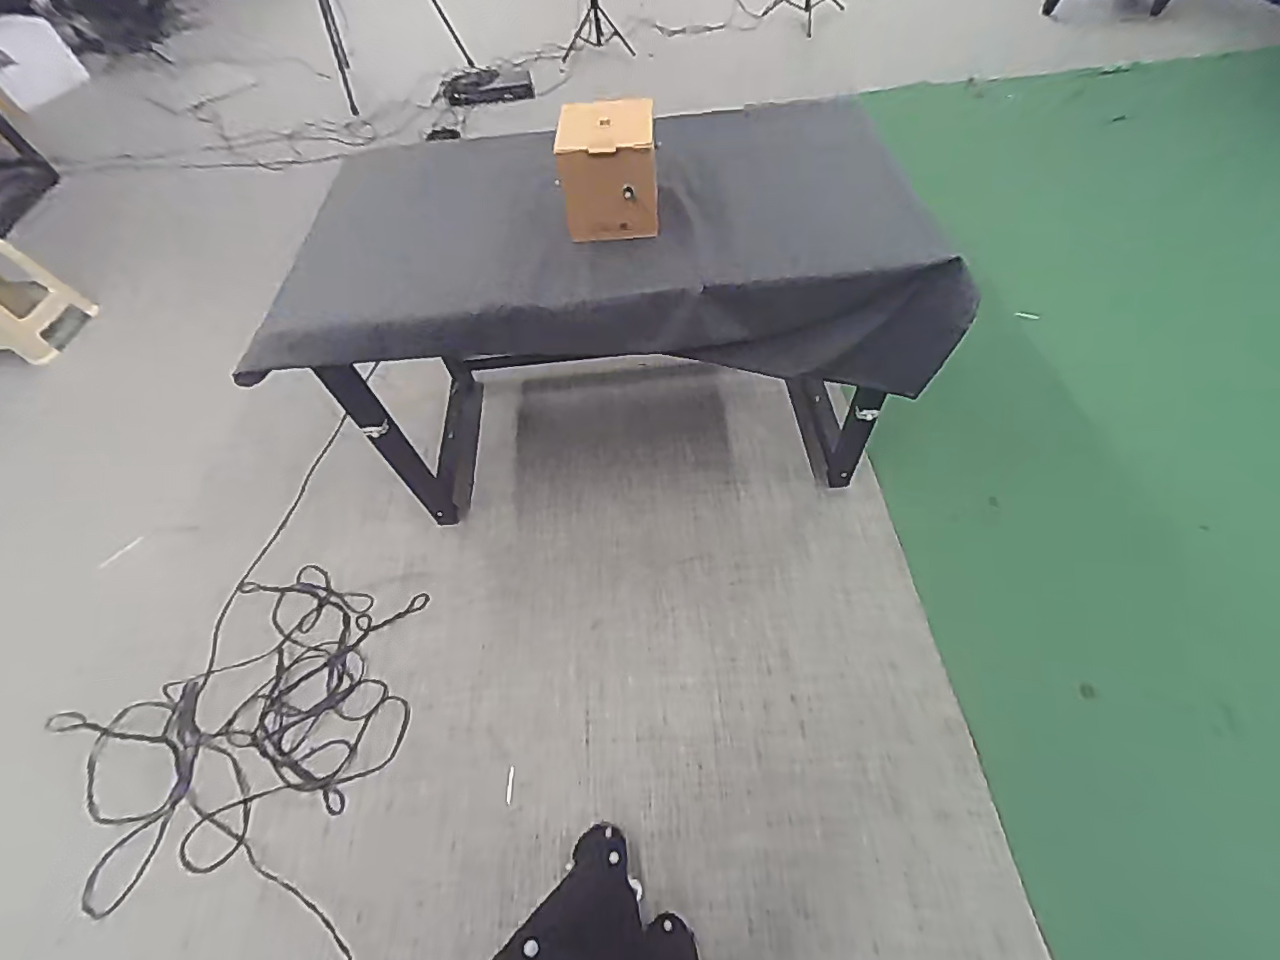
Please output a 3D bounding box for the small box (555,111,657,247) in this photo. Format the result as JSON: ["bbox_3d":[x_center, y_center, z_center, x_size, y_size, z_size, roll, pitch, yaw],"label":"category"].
[{"bbox_3d":[-0.054,-0.551,1.005,0.168,0.176,0.179,-2,54,3],"label":"small box"}]
